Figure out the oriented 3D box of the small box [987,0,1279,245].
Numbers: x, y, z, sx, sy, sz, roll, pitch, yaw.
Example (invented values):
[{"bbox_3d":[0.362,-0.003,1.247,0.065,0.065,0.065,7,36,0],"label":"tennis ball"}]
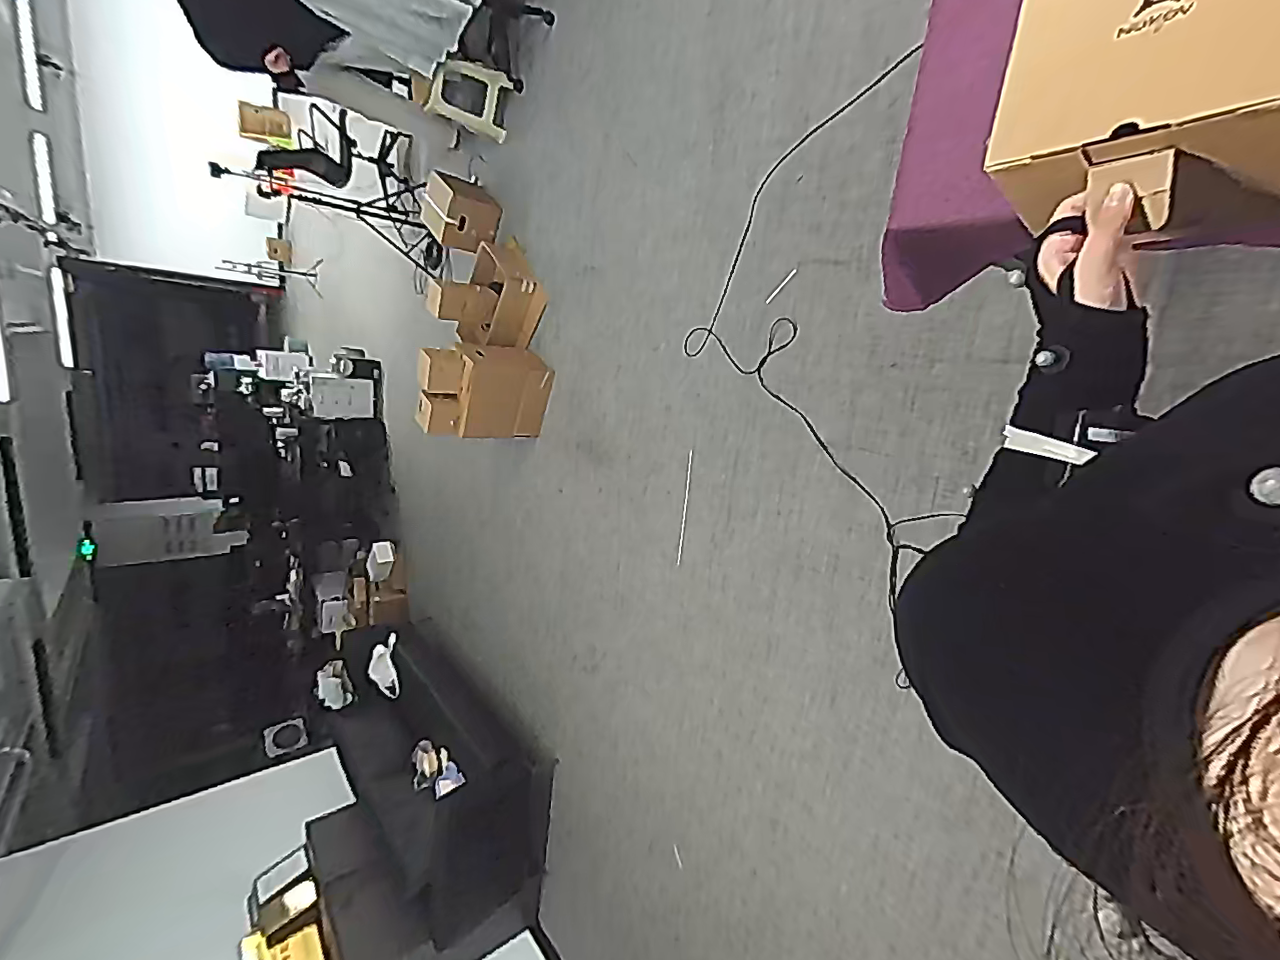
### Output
[{"bbox_3d":[0.401,-0.306,0.410,0.168,0.176,0.179,16,98,50],"label":"small box"}]
